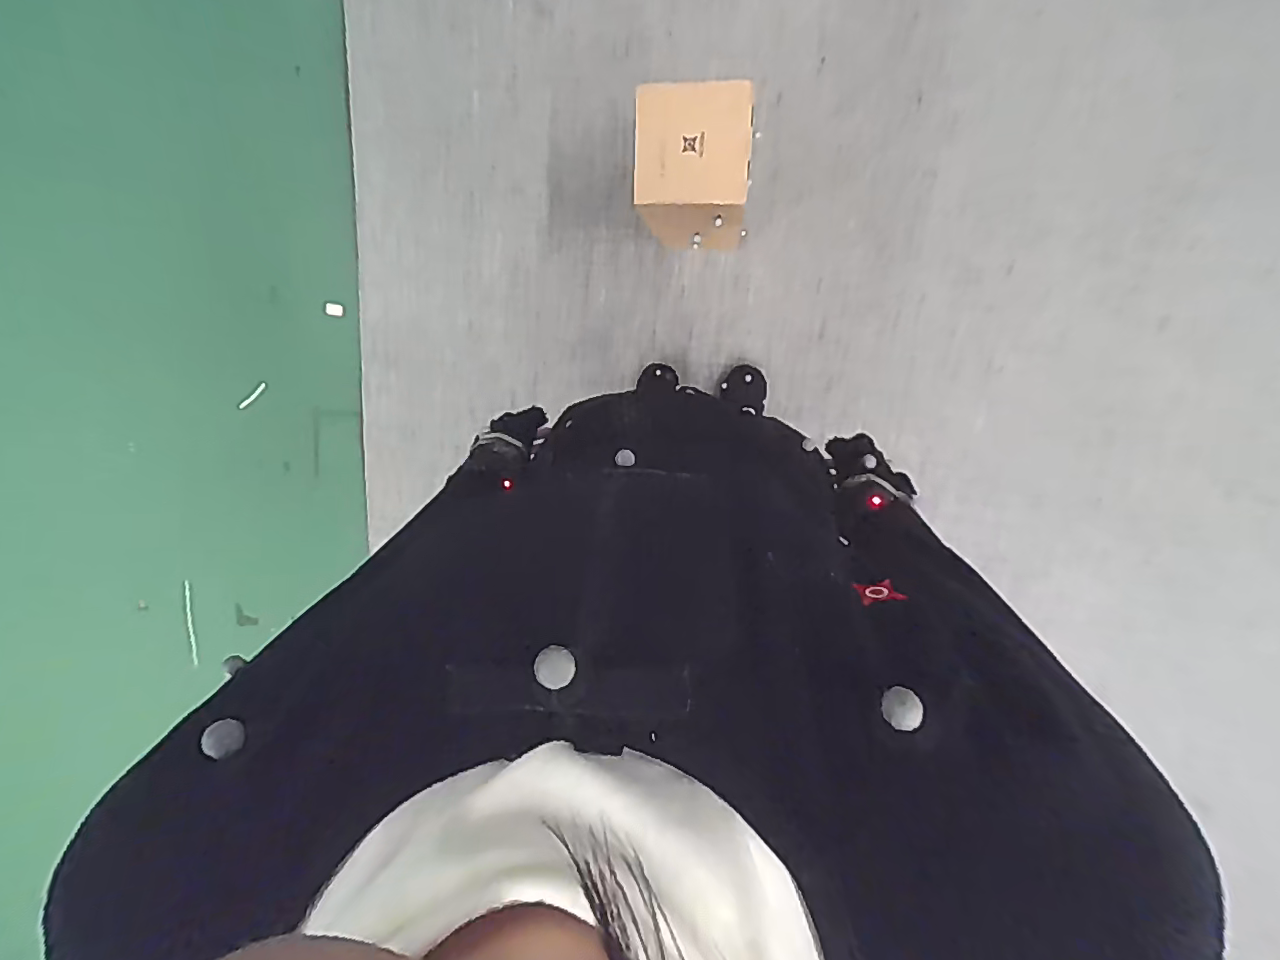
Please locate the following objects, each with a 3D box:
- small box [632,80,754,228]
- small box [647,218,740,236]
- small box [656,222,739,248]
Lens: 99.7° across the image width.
[{"bbox_3d":[0.089,-0.521,0.885,0.179,0.176,0.168,4,103,9],"label":"small box"},{"bbox_3d":[0.107,-0.573,1.039,0.179,0.176,0.168,3,104,8],"label":"small box"},{"bbox_3d":[0.134,-0.616,1.194,0.179,0.176,0.168,6,104,8],"label":"small box"}]
